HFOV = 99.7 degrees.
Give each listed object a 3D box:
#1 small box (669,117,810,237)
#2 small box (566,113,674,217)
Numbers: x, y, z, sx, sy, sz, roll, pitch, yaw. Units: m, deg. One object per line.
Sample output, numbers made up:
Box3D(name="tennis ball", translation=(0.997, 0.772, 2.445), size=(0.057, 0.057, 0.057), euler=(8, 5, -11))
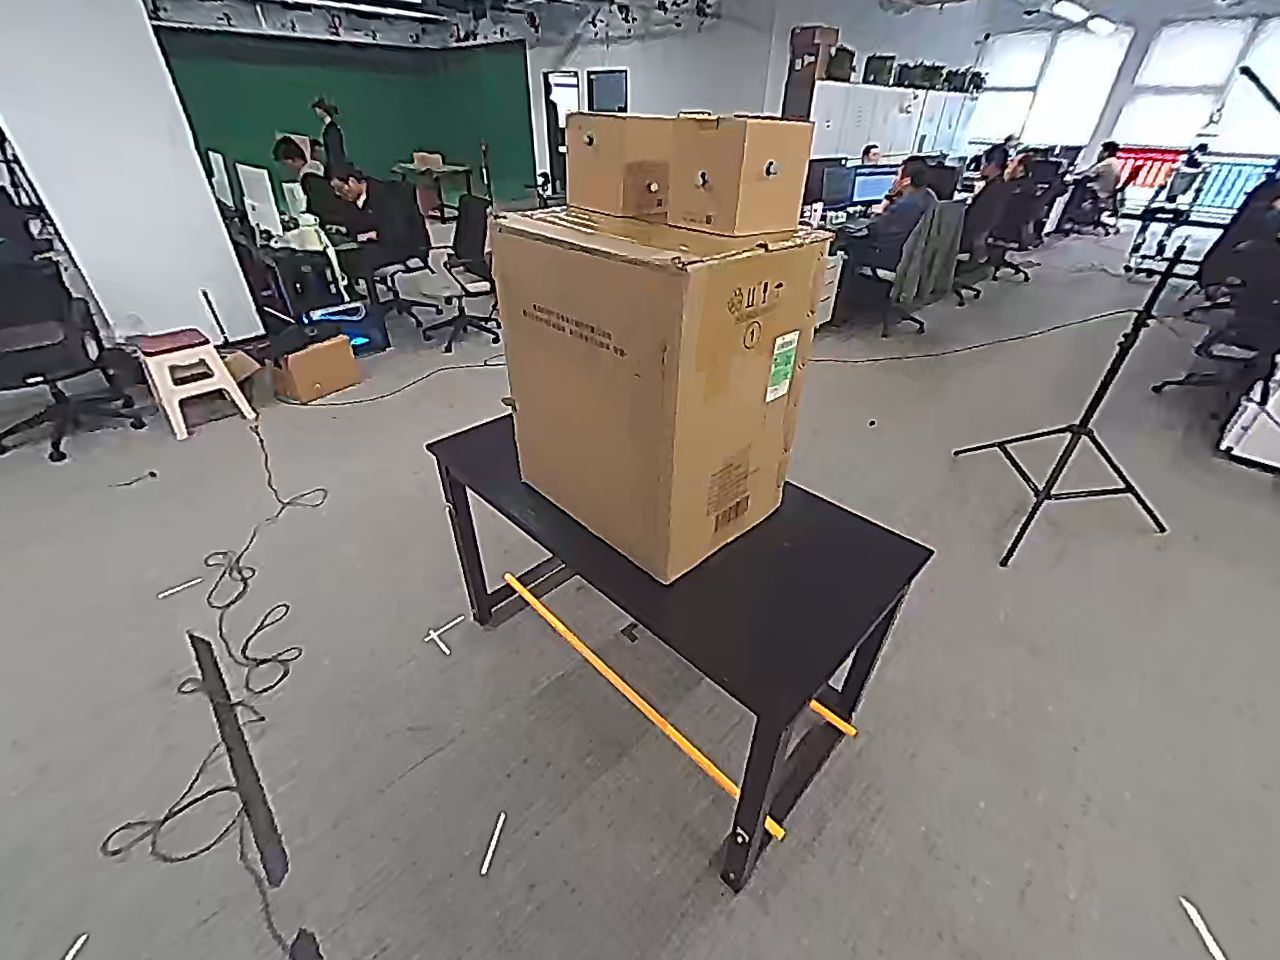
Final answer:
Box3D(name="small box", translation=(0.166, -0.526, 0.939), size=(0.179, 0.176, 0.168), euler=(-24, 41, -34))
Box3D(name="small box", translation=(-0.035, -0.638, 1.097), size=(0.168, 0.176, 0.179), euler=(-27, 45, -36))
